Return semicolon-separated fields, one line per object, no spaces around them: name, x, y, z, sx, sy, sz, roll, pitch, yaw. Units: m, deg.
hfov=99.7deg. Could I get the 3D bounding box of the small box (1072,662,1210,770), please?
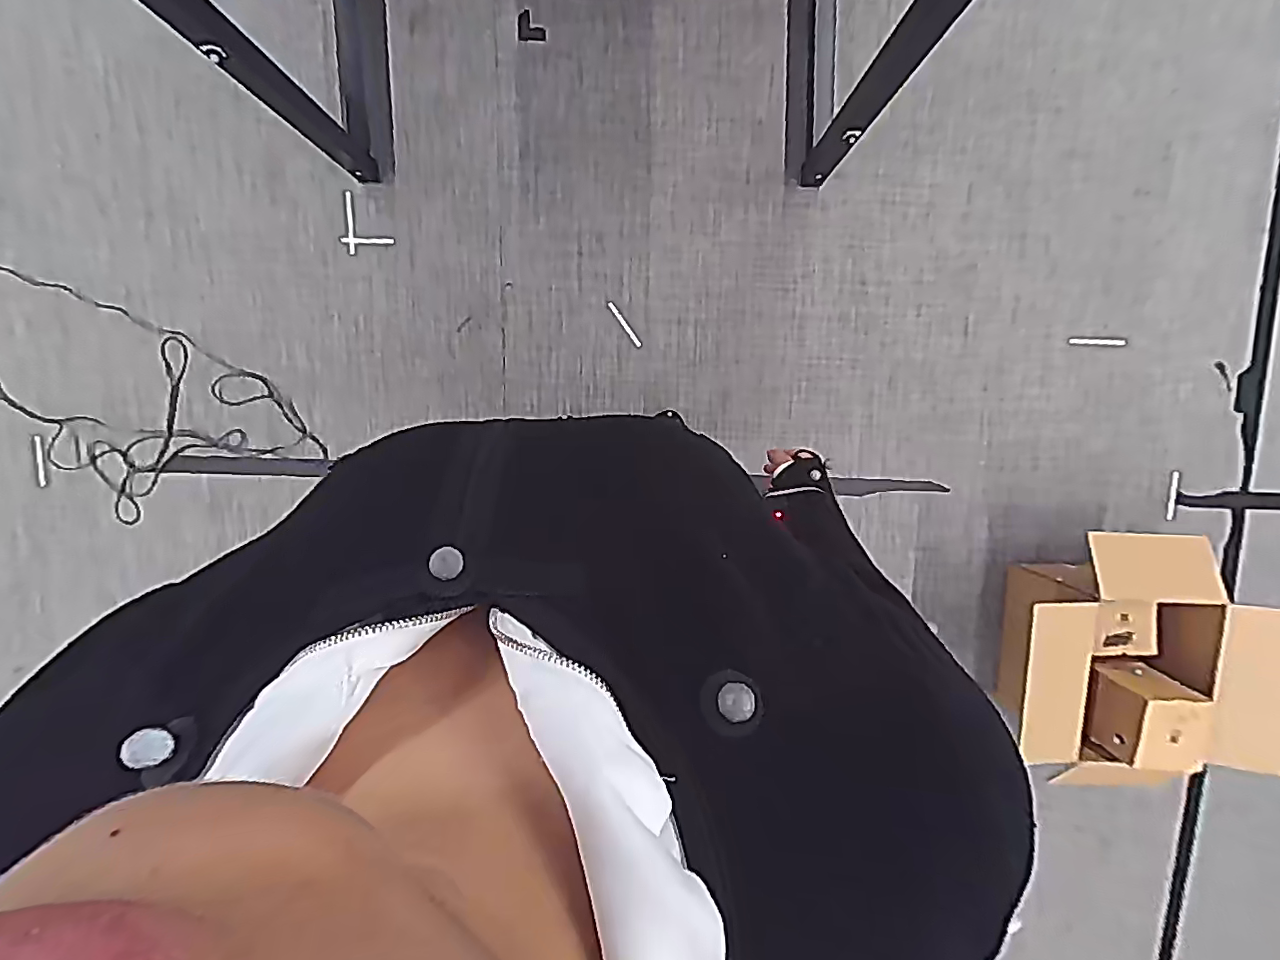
small box;1.204;0.568;1.314;0.168;0.176;0.179;3;98;-2
